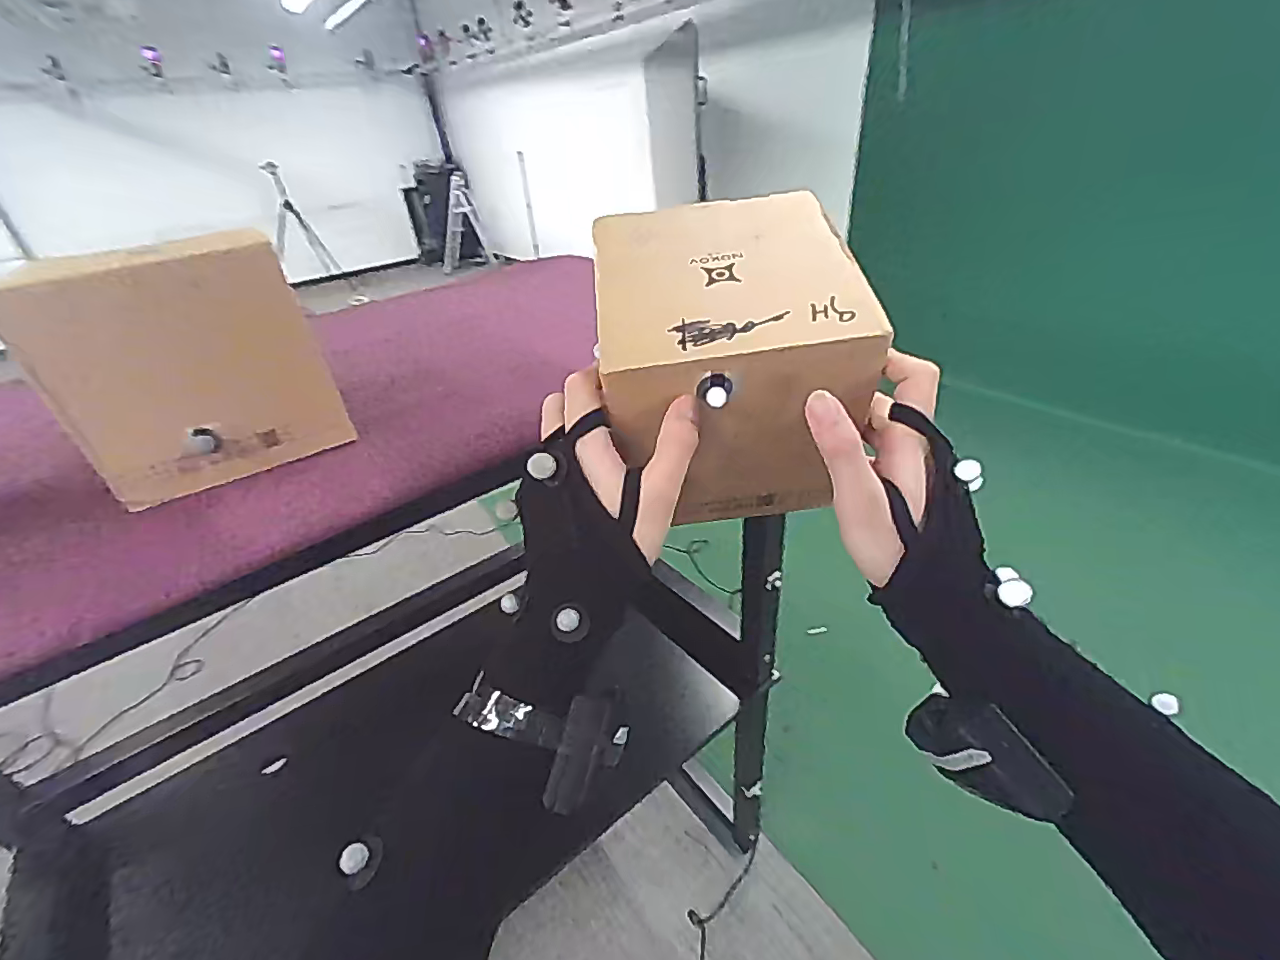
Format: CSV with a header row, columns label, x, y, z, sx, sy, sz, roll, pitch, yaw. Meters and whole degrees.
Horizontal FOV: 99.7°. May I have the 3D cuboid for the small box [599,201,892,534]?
label,x,y,z,sx,sy,sz,roll,pitch,yaw
small box,0.062,-0.081,0.414,0.168,0.176,0.179,-7,52,4

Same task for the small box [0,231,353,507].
label,x,y,z,sx,sy,sz,roll,pitch,yaw
small box,-0.372,-0.103,0.459,0.168,0.176,0.179,-26,38,-26
